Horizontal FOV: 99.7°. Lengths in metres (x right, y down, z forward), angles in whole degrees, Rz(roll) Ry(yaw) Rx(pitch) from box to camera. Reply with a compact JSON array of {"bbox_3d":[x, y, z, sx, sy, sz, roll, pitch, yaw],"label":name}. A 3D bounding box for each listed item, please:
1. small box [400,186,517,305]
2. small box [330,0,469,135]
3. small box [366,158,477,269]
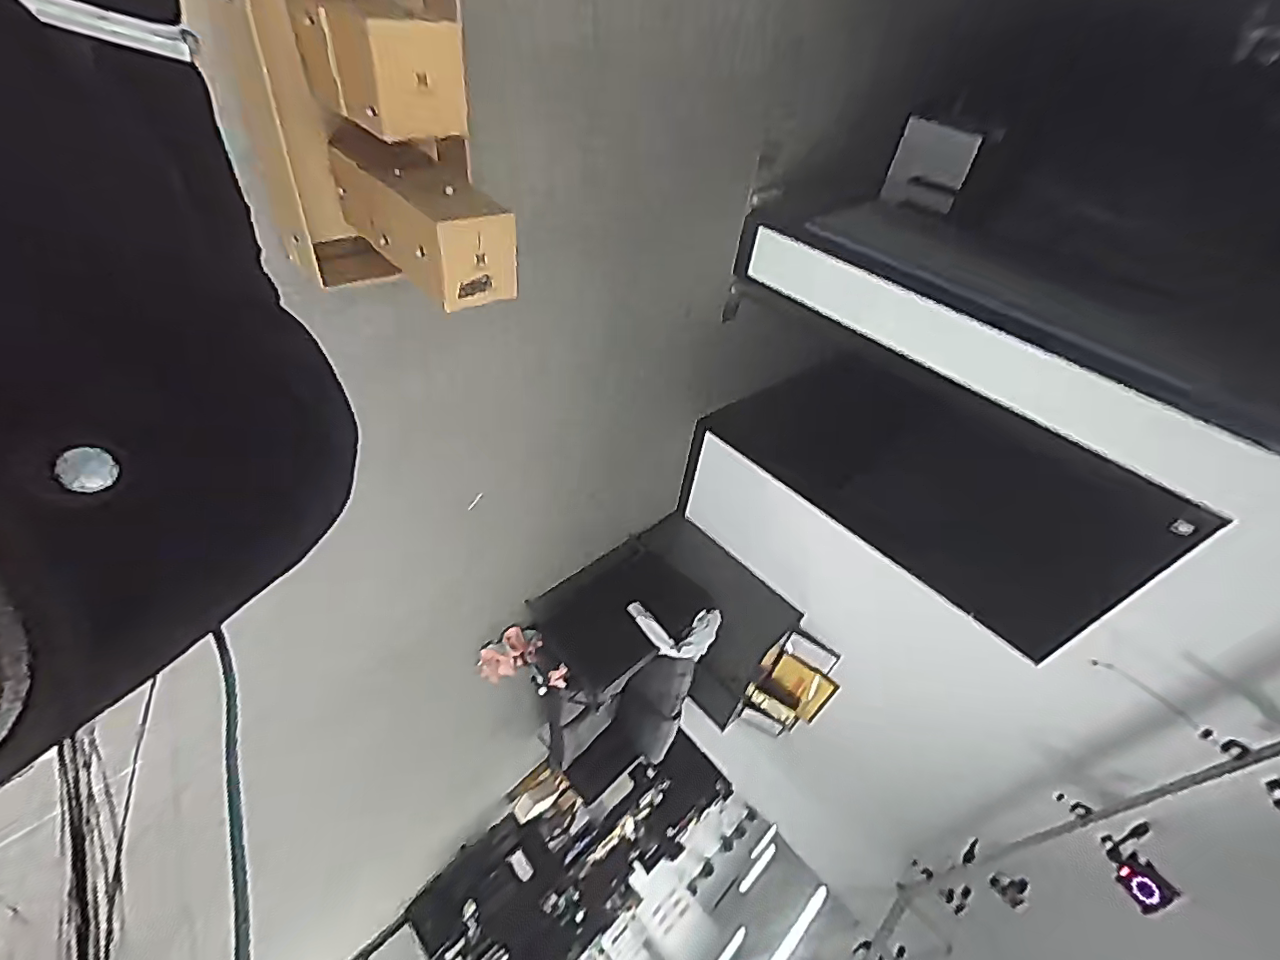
[{"bbox_3d":[-0.364,-0.480,1.095,0.168,0.176,0.179,-26,140,-36],"label":"small box"},{"bbox_3d":[-0.438,-0.761,0.992,0.168,0.176,0.179,-30,148,-32],"label":"small box"},{"bbox_3d":[-0.469,-0.580,1.168,0.179,0.176,0.168,-28,145,-35],"label":"small box"}]
